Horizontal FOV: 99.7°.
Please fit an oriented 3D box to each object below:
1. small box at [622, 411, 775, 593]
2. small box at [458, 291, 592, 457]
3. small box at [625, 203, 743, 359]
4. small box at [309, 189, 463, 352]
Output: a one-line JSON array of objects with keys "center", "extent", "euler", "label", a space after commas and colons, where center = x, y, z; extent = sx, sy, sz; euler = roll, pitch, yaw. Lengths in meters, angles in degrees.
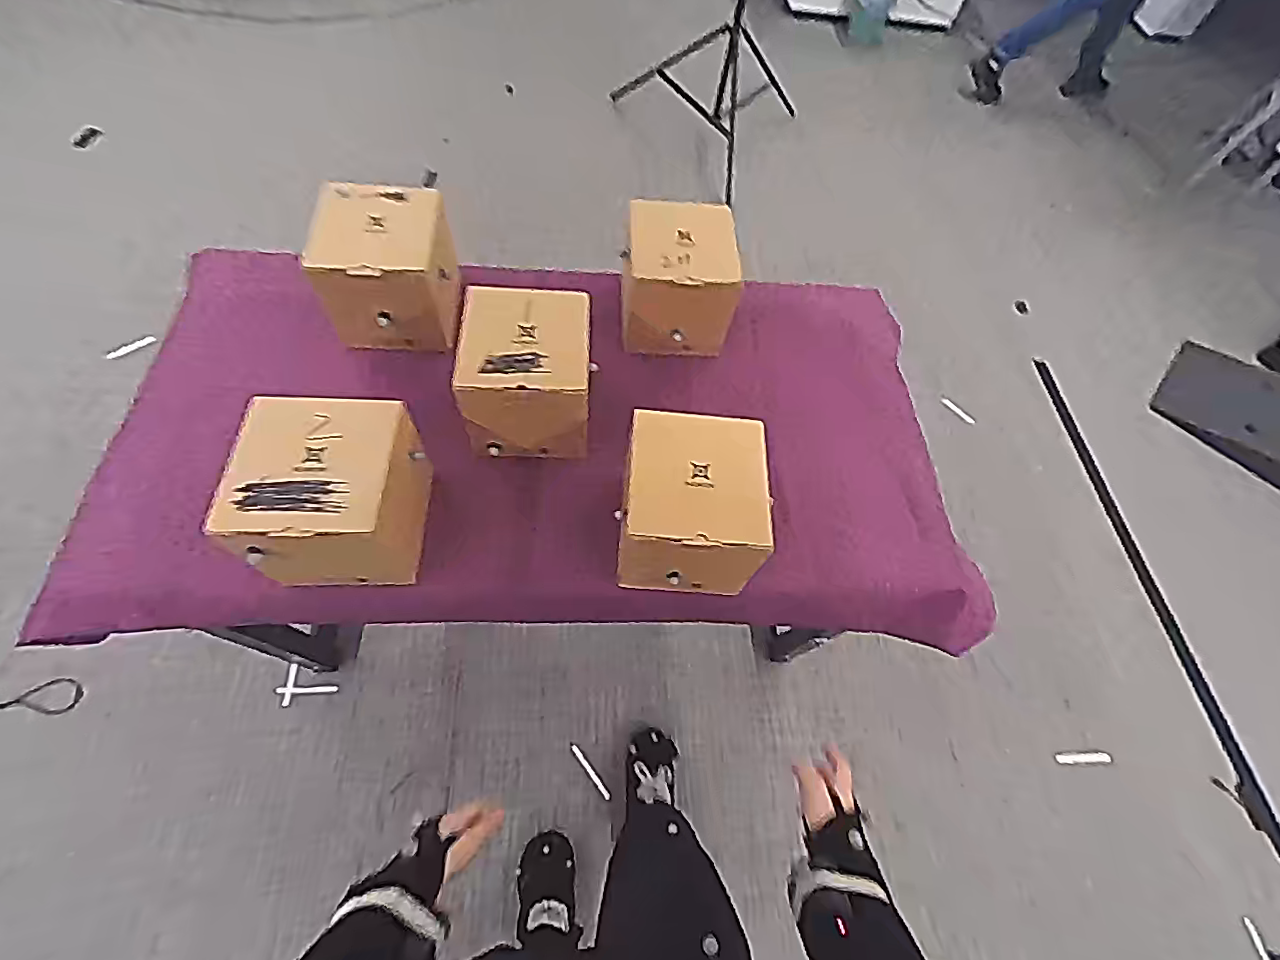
[{"center": [0.067, 0.035, 0.712], "extent": [0.168, 0.176, 0.179], "euler": [5, 61, -4], "label": "small box"}, {"center": [-0.154, -0.147, 0.785], "extent": [0.168, 0.176, 0.179], "euler": [1, 61, -6], "label": "small box"}, {"center": [0.063, -0.327, 0.904], "extent": [0.168, 0.176, 0.179], "euler": [0, 63, -5], "label": "small box"}, {"center": [-0.382, -0.320, 0.849], "extent": [0.168, 0.176, 0.179], "euler": [0, 64, -7], "label": "small box"}]
